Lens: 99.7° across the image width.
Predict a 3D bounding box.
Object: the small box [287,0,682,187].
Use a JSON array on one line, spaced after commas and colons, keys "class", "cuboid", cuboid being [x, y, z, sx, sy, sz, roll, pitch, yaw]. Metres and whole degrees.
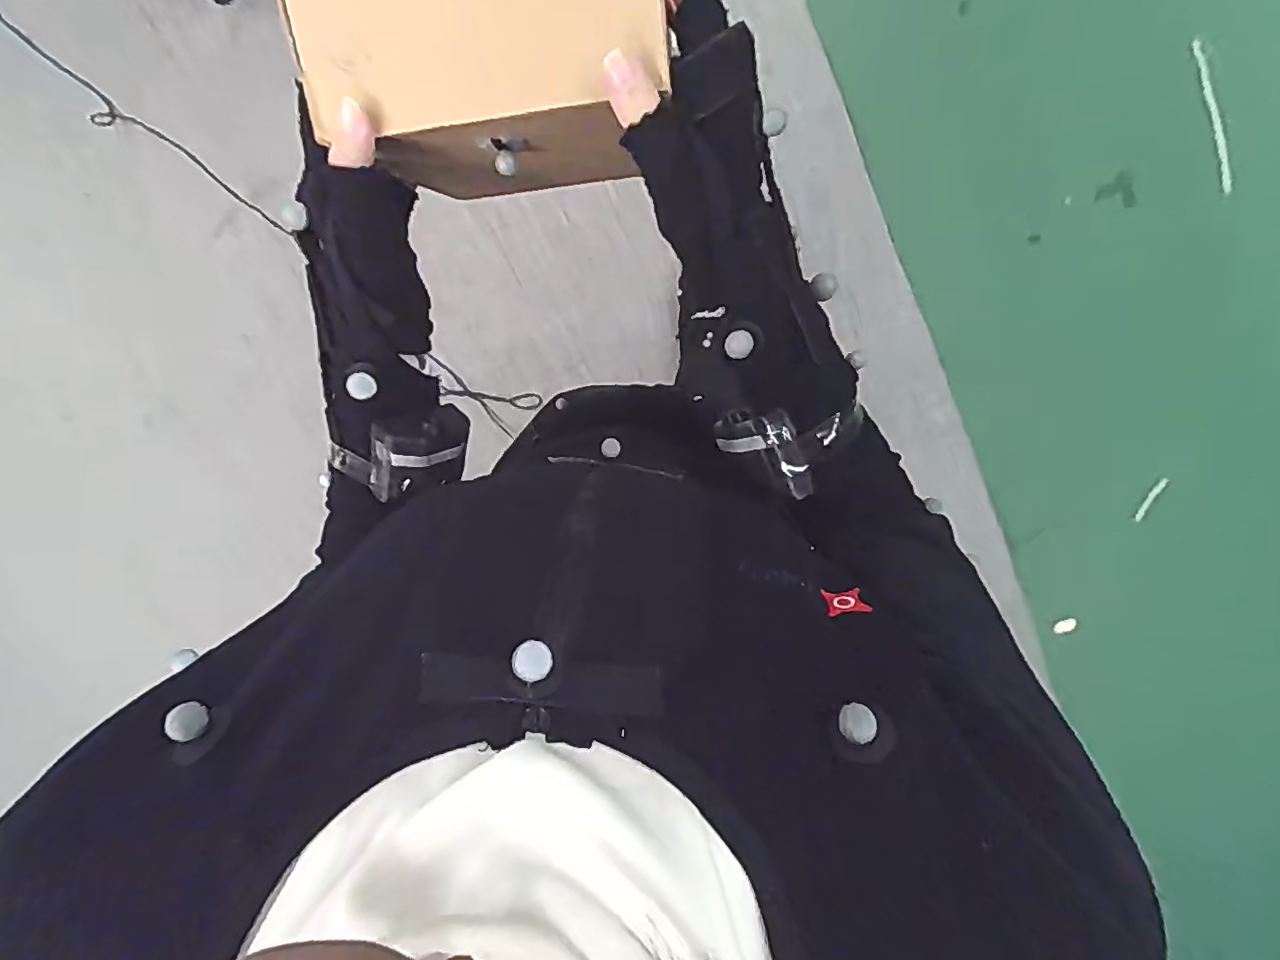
[{"class": "small box", "cuboid": [-0.073, -0.281, 0.306, 0.179, 0.176, 0.168, -4, 108, 8]}]
